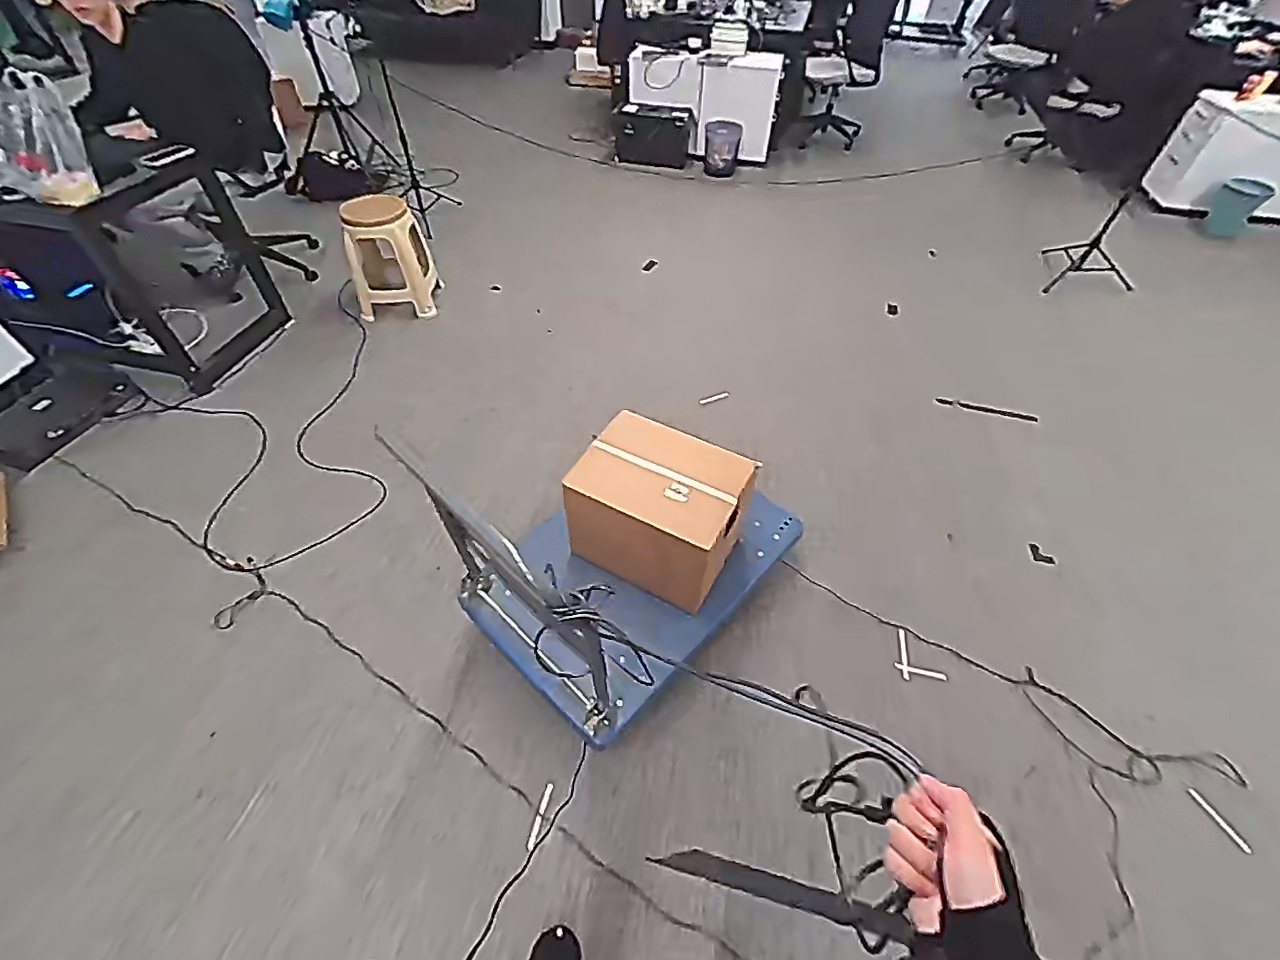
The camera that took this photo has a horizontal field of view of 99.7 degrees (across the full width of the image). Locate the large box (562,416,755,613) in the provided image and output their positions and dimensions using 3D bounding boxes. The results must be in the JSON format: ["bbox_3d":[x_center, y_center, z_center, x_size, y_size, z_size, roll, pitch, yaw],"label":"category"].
[{"bbox_3d":[0.044,0.088,1.462,0.408,0.320,0.320,24,53,17],"label":"large box"}]
